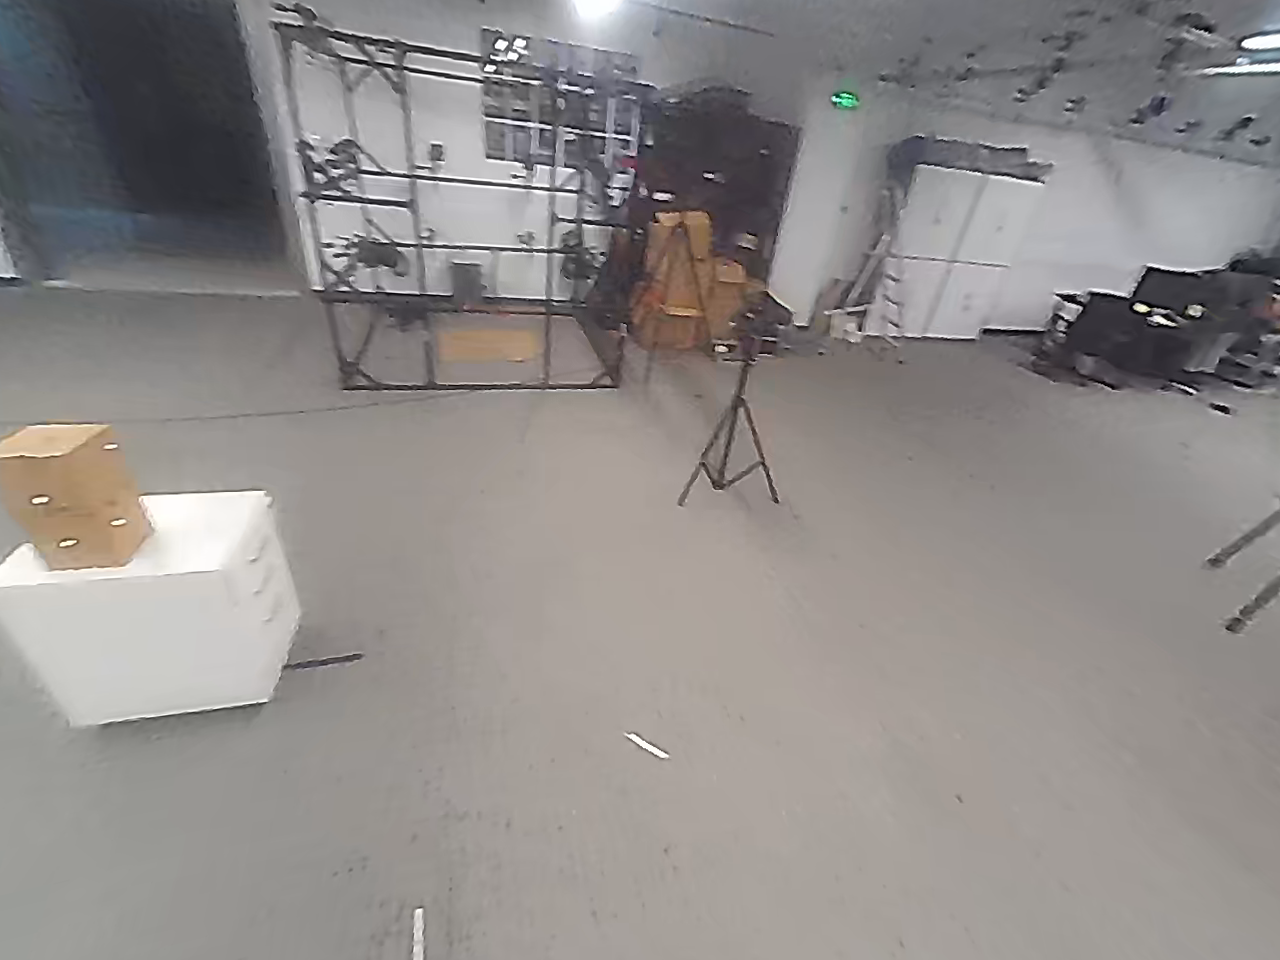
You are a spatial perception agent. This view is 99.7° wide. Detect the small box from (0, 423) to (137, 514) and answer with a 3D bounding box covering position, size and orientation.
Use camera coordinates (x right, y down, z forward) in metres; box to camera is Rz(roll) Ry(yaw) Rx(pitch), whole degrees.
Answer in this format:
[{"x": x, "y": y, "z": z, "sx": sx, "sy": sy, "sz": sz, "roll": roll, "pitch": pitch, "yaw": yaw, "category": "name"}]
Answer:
[{"x": -1.423, "y": -0.031, "z": 1.358, "sx": 0.168, "sy": 0.176, "sz": 0.179, "roll": -2, "pitch": 32, "yaw": -13, "category": "small box"}]
